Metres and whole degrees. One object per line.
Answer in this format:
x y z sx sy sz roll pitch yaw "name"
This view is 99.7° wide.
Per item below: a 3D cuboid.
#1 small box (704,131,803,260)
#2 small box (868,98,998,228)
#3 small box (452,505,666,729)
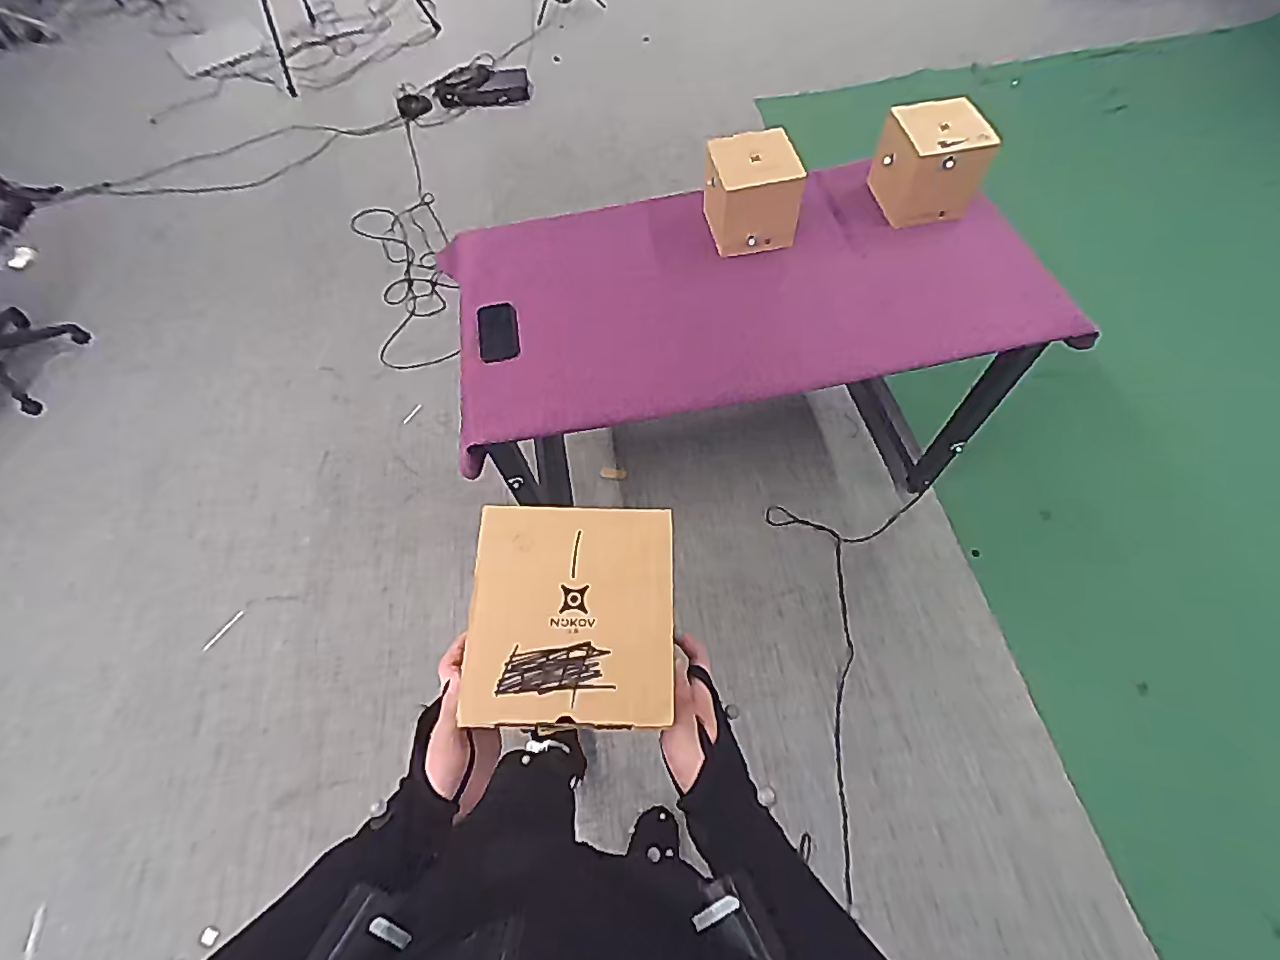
0.234 -0.611 1.170 0.168 0.176 0.179 -11 62 0 "small box"
0.618 -0.681 1.170 0.168 0.176 0.179 -10 60 1 "small box"
-0.061 0.133 0.512 0.168 0.176 0.179 1 68 -1 "small box"
